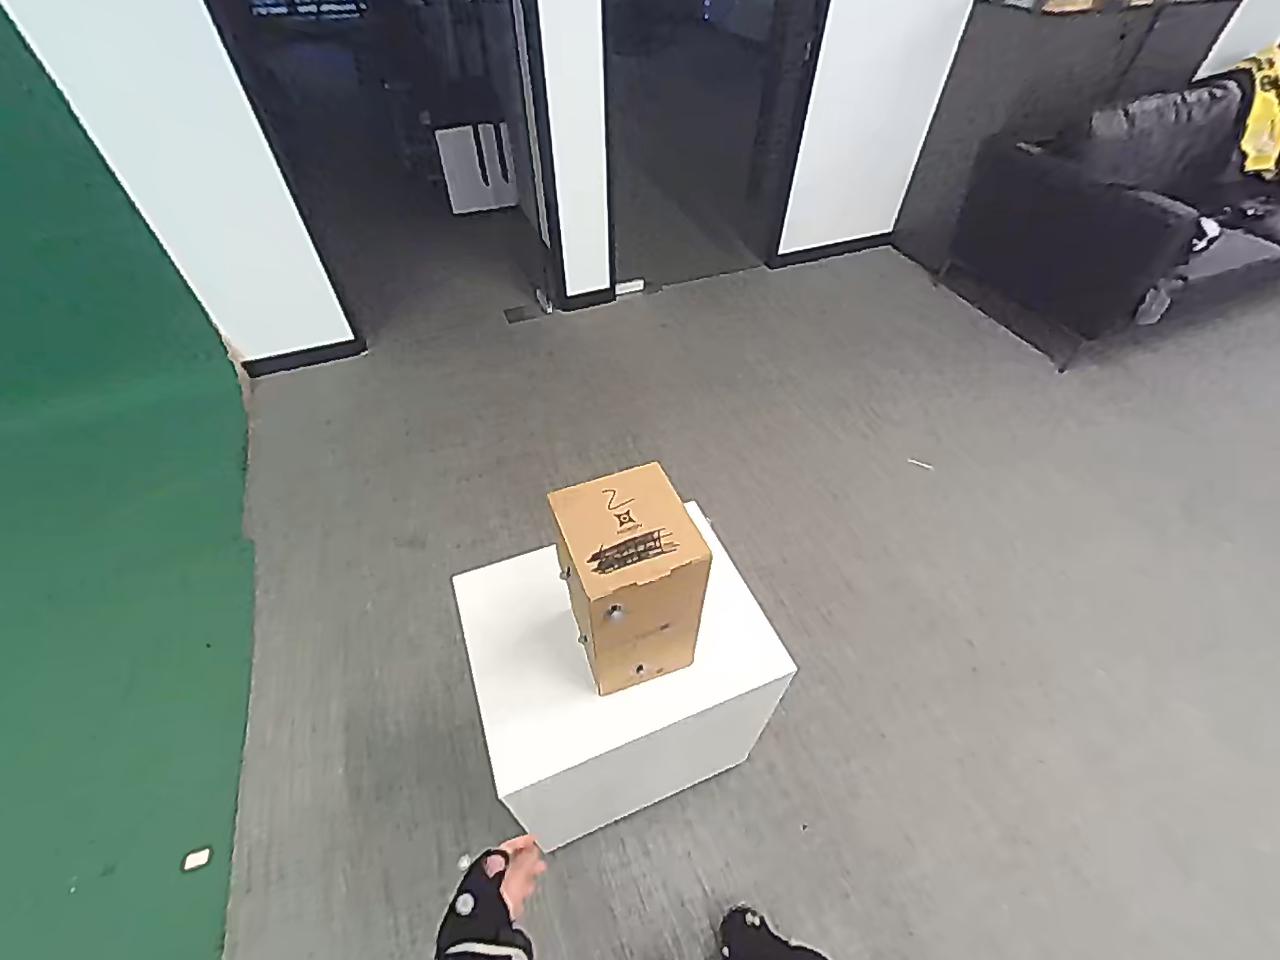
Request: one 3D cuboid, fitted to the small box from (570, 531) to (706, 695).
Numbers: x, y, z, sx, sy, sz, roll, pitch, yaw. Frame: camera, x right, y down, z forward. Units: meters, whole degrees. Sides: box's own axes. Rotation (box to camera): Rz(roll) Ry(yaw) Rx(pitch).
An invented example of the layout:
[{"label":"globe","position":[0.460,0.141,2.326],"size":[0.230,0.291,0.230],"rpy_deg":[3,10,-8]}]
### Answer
[{"label":"small box","position":[-0.009,0.216,0.880],"size":[0.168,0.176,0.179],"rpy_deg":[-15,49,-14]}]
